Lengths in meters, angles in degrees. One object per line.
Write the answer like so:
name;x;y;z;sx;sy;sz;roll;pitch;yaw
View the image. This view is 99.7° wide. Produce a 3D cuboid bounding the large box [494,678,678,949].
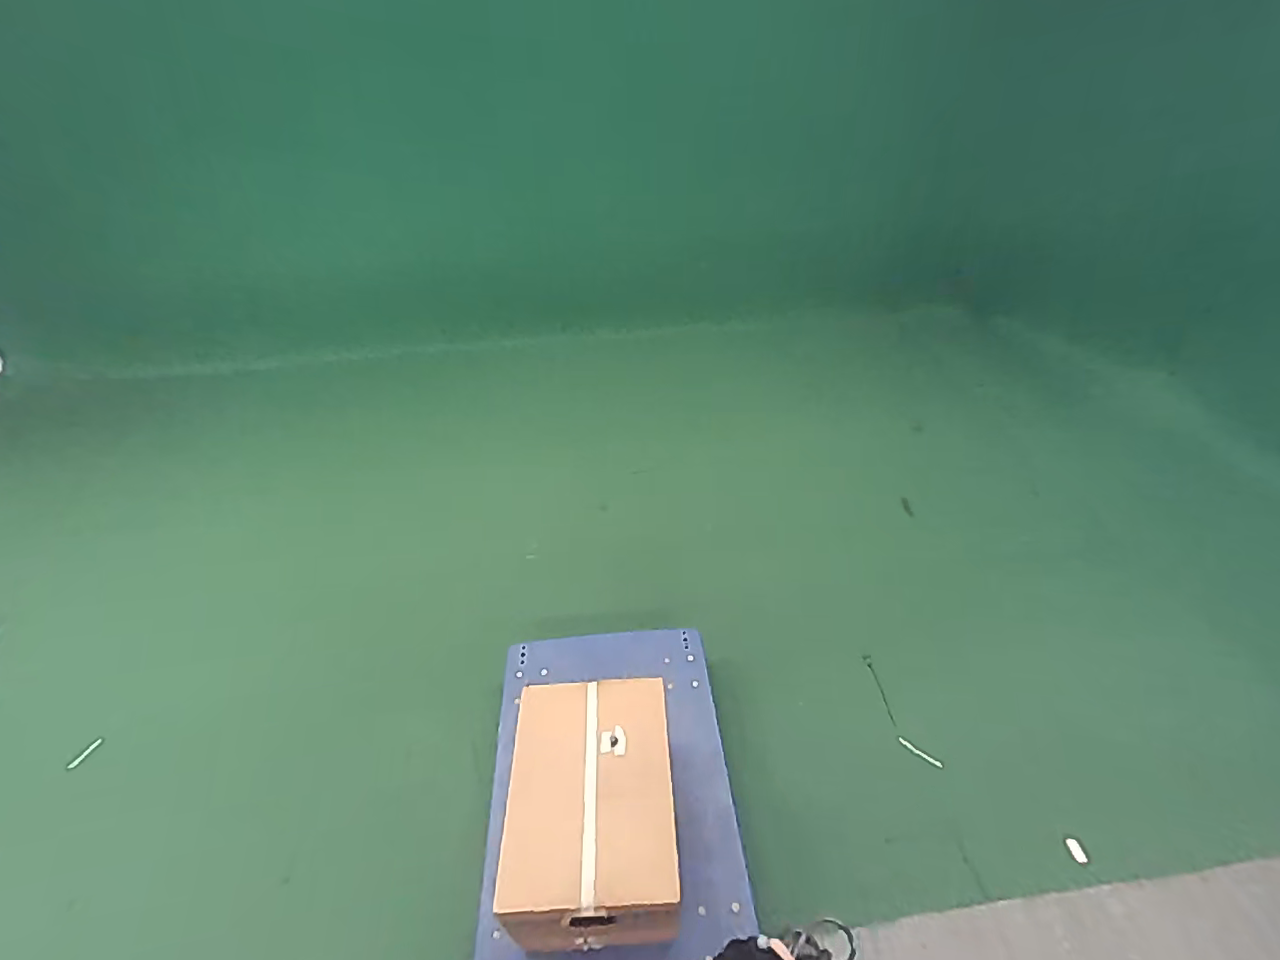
large box;-0.095;0.689;1.140;0.320;0.320;0.408;-2;40;-1
